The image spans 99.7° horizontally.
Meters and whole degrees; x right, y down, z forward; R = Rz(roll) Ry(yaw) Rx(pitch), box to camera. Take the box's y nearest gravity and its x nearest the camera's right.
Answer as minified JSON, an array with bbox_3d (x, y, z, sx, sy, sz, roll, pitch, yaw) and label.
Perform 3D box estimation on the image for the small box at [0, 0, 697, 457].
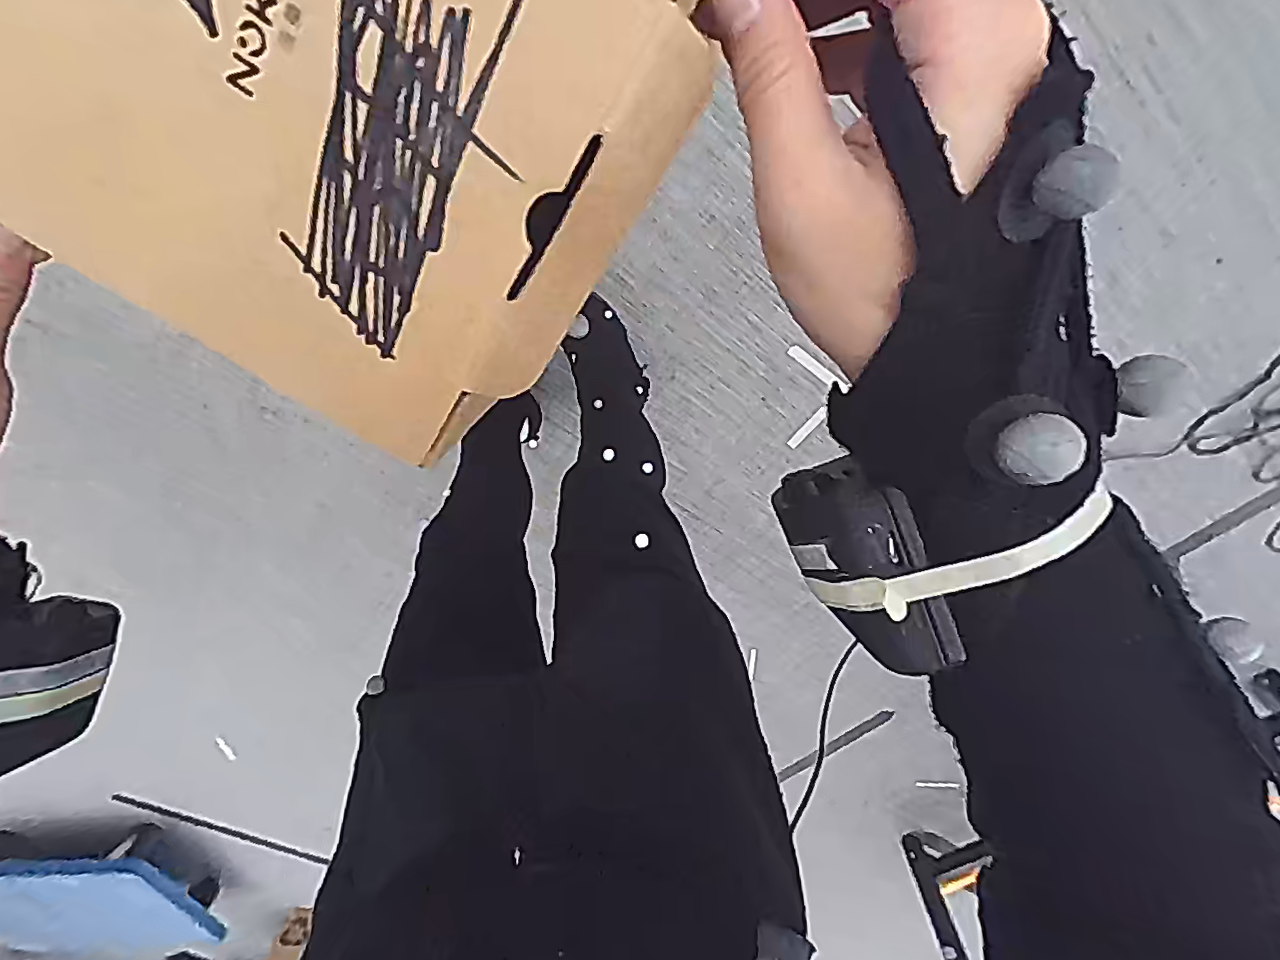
[{"bbox_3d":[-0.091,-0.144,0.187,0.179,0.176,0.168,33,114,-11],"label":"small box"}]
